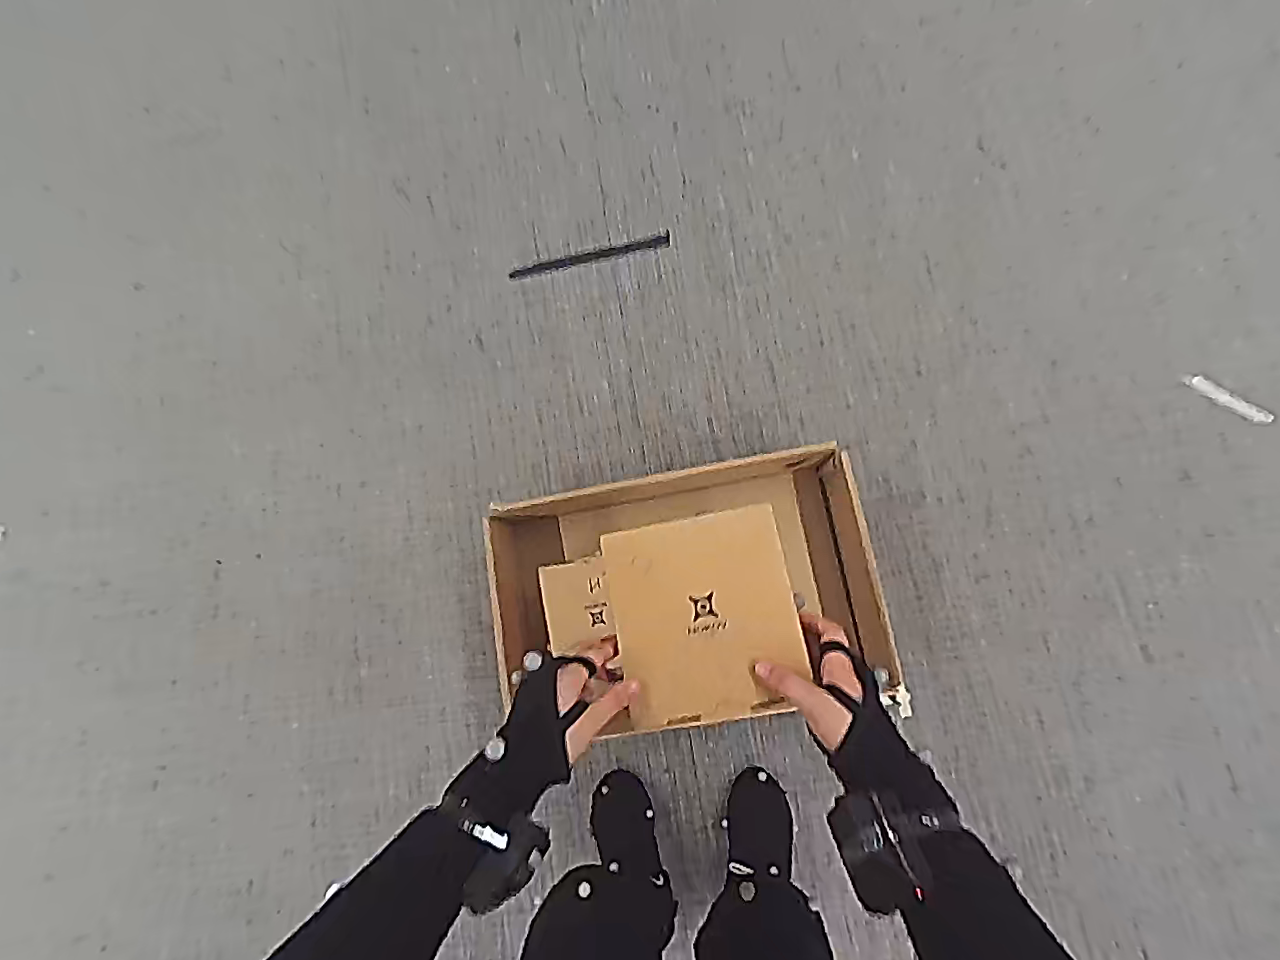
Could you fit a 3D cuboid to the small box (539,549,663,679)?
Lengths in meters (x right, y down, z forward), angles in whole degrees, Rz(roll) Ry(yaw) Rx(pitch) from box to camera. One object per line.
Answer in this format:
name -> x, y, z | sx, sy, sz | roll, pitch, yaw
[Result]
small box -> -0.058, 0.219, 0.918 | 0.168, 0.176, 0.179 | -12, 79, 3
